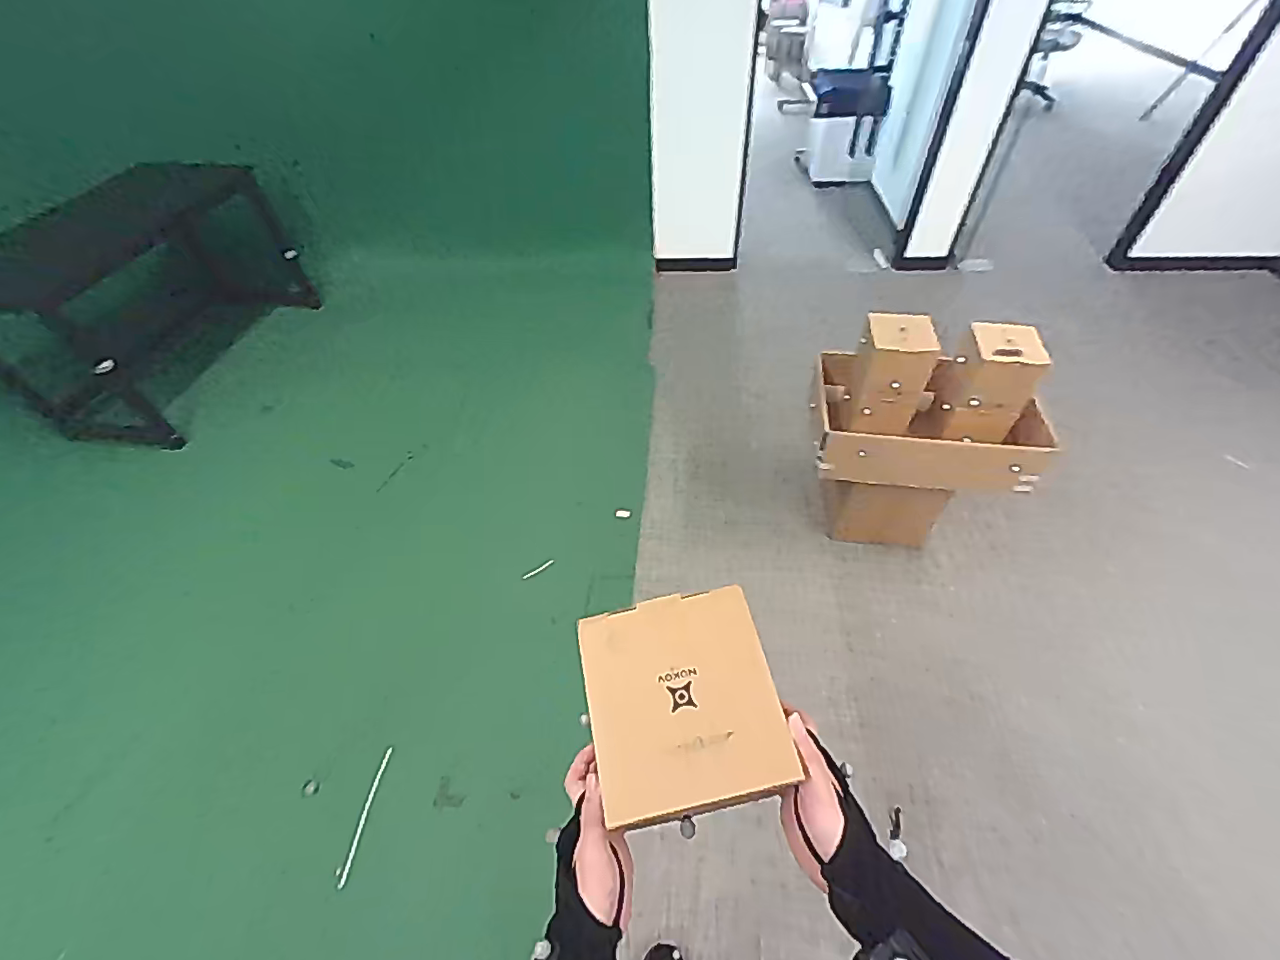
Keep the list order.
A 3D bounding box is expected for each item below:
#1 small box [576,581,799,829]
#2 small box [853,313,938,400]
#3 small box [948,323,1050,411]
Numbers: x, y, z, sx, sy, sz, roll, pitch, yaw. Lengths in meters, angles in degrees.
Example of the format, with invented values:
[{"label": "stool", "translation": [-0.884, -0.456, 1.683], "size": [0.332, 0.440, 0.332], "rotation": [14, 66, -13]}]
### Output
[{"label": "small box", "translation": [0.037, 0.226, 0.534], "size": [0.168, 0.176, 0.179], "rotation": [-11, 56, -2]}, {"label": "small box", "translation": [0.716, -0.350, 1.537], "size": [0.168, 0.176, 0.179], "rotation": [5, 49, 8]}, {"label": "small box", "translation": [0.976, -0.310, 1.490], "size": [0.168, 0.176, 0.179], "rotation": [7, 49, 9]}]
